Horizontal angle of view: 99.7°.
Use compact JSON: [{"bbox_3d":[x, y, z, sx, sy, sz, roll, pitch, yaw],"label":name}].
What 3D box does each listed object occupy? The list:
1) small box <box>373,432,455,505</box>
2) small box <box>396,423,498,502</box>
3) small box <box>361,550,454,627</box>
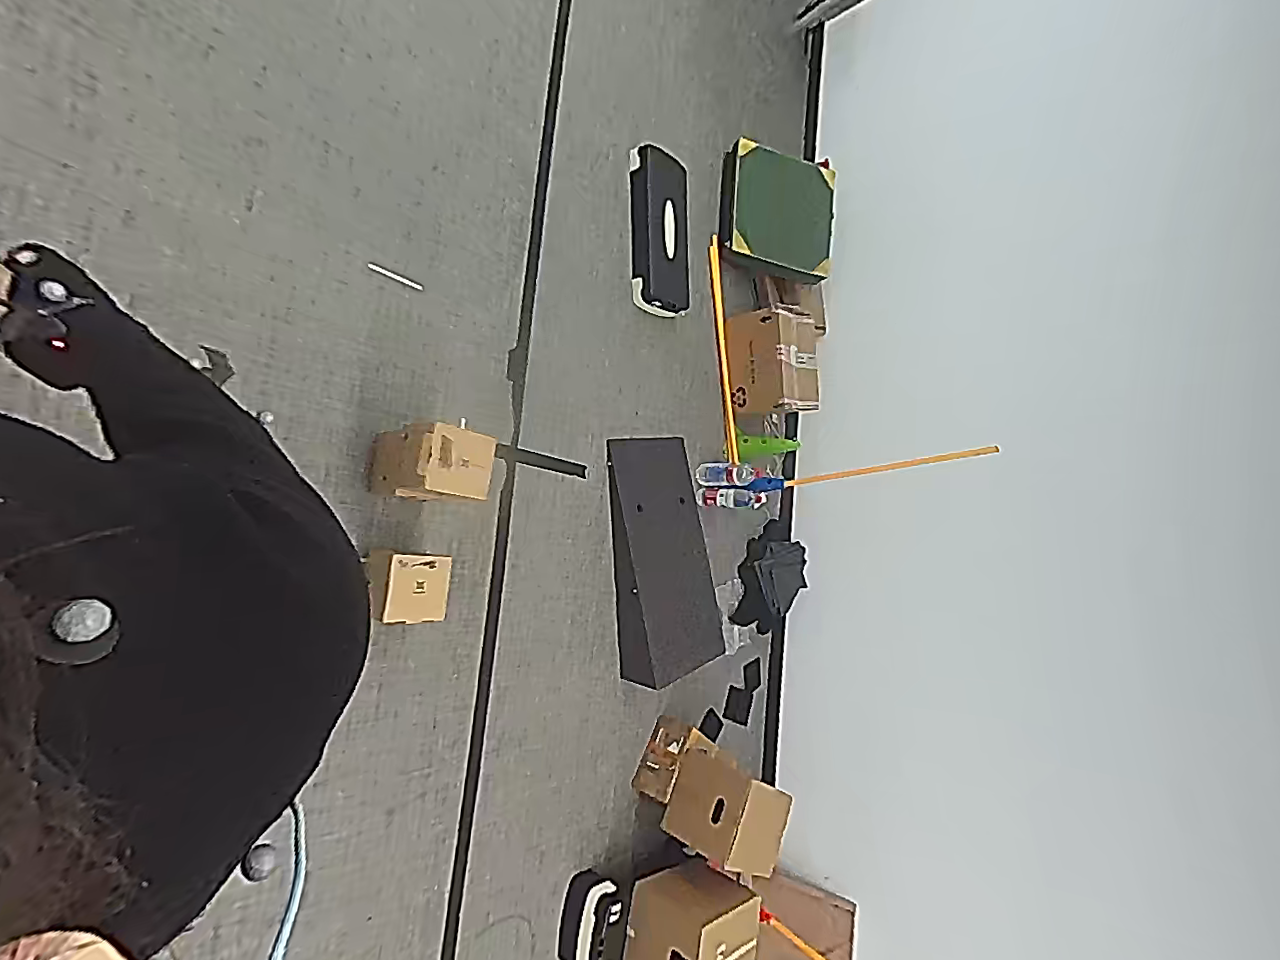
[{"bbox_3d":[-0.615,-0.028,1.488,0.168,0.176,0.179,12,81,-47],"label":"small box"},{"bbox_3d":[-0.494,-0.038,1.377,0.179,0.176,0.168,16,79,-48],"label":"small box"},{"bbox_3d":[-0.634,0.291,1.465,0.168,0.176,0.179,13,81,-47],"label":"small box"}]
